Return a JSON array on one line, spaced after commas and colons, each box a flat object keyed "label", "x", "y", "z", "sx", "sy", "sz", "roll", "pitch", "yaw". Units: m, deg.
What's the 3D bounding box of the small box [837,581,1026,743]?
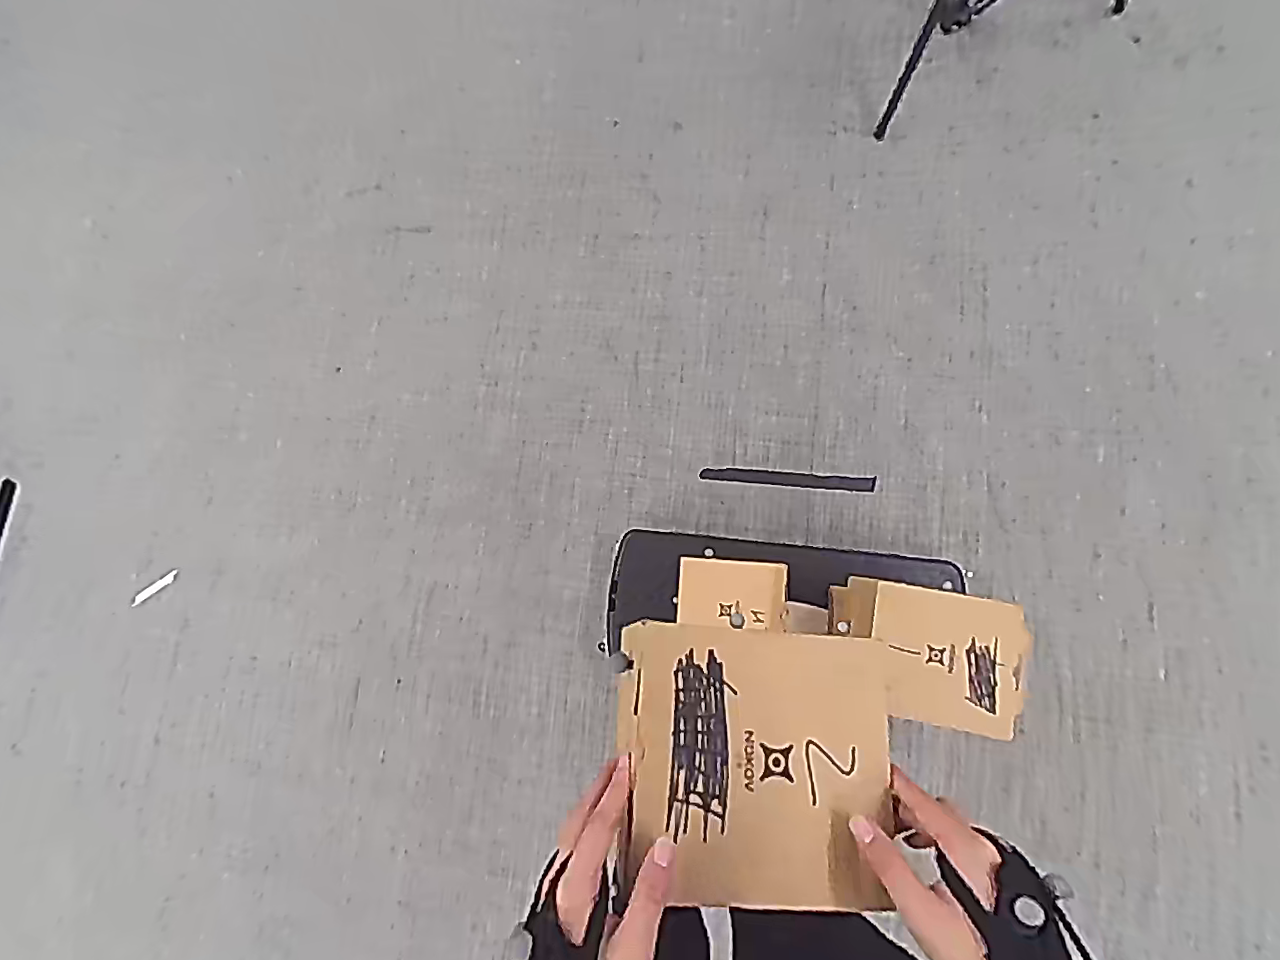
[{"label": "small box", "x": 0.390, "y": 0.236, "z": 0.750, "sx": 0.179, "sy": 0.176, "sz": 0.168, "roll": 9, "pitch": 83, "yaw": 11}]

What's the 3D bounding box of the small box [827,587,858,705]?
[{"label": "small box", "x": 0.416, "y": 0.276, "z": 0.908, "sx": 0.168, "sy": 0.176, "sz": 0.179, "roll": 4, "pitch": 82, "yaw": 9}]
